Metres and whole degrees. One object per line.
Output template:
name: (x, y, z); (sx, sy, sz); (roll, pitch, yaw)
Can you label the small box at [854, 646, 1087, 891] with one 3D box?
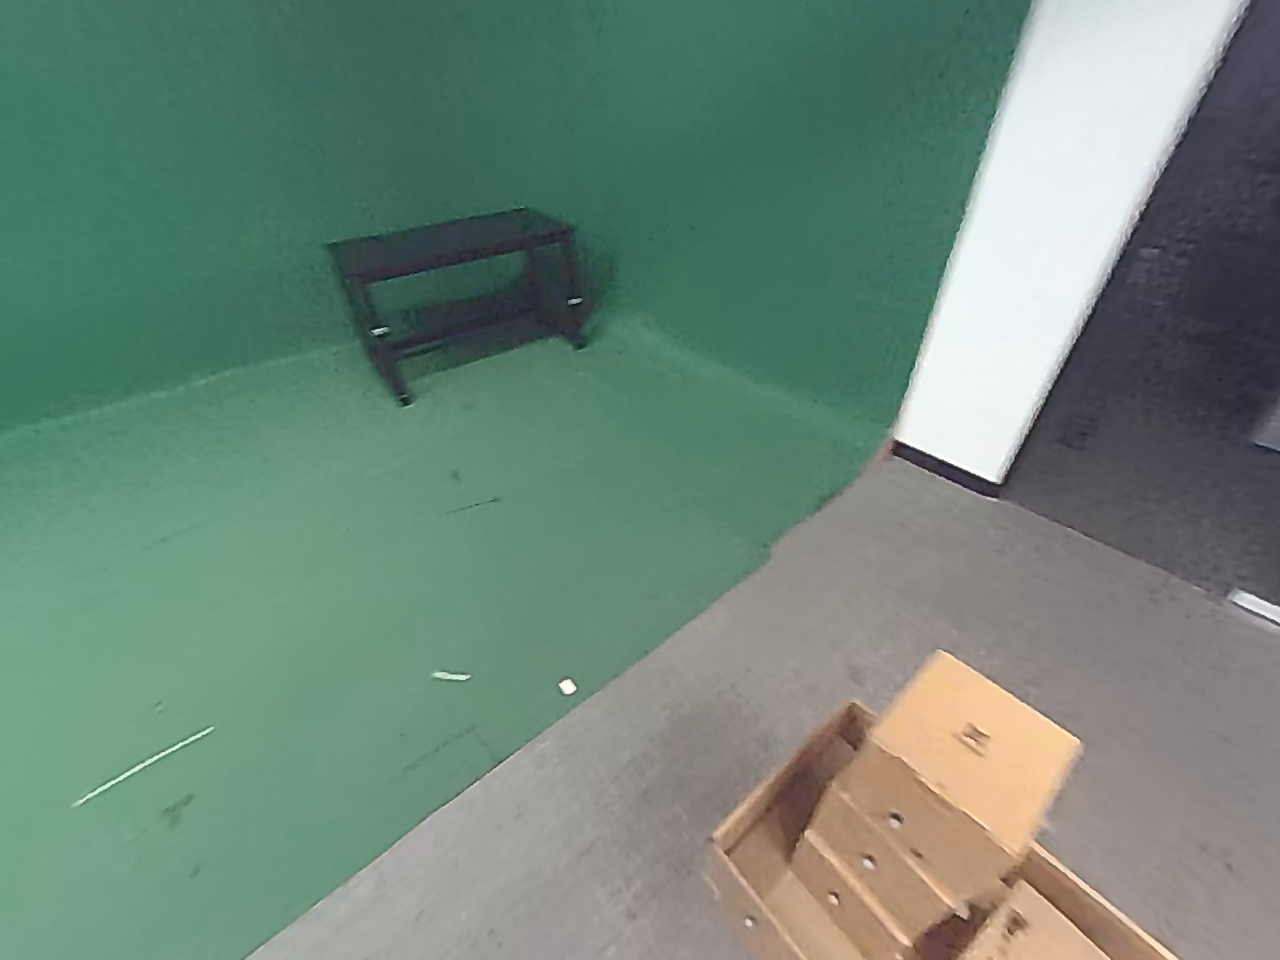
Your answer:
small box: (0.391, 0.350, 0.667); (0.179, 0.176, 0.168); (-30, 47, -29)
